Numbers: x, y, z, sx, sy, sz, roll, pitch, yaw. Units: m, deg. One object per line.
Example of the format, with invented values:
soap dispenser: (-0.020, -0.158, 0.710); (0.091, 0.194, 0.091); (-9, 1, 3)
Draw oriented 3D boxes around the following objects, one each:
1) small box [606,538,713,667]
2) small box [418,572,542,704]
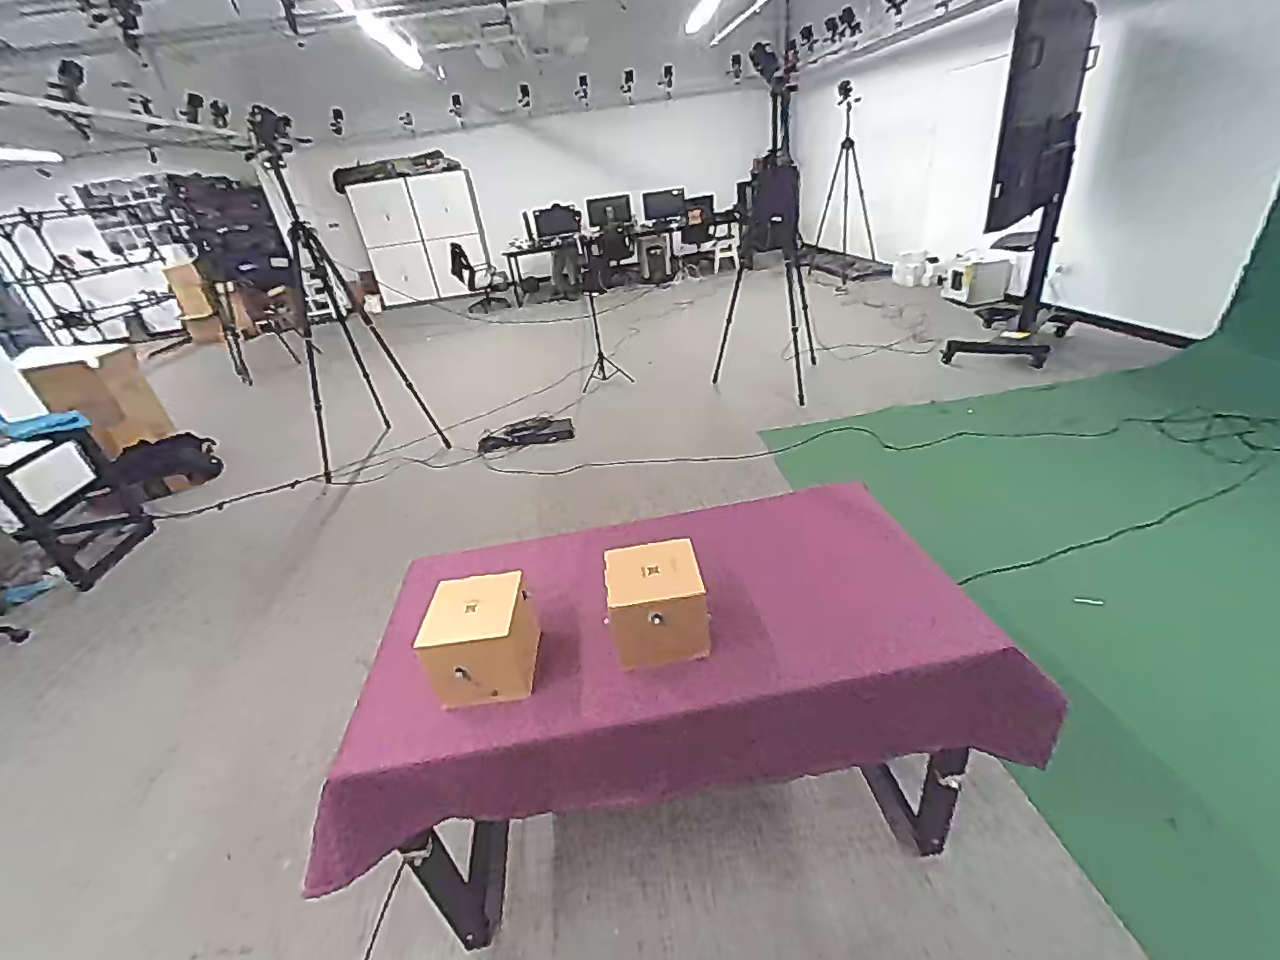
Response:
small box: (0.036, 0.239, 1.050); (0.179, 0.176, 0.168); (-9, 30, 0)
small box: (-0.292, 0.304, 1.031); (0.168, 0.176, 0.179); (-8, 29, 1)
